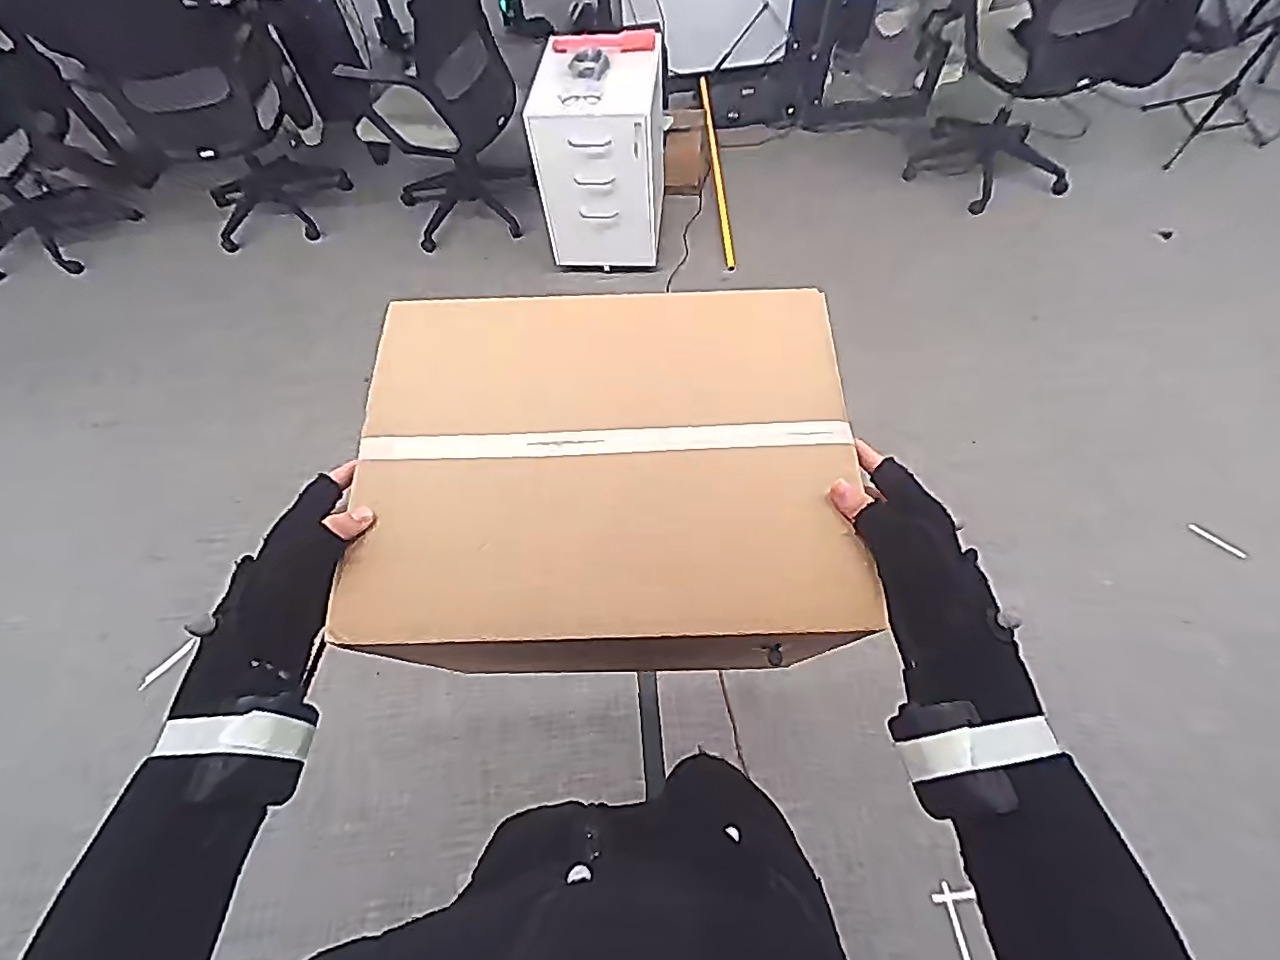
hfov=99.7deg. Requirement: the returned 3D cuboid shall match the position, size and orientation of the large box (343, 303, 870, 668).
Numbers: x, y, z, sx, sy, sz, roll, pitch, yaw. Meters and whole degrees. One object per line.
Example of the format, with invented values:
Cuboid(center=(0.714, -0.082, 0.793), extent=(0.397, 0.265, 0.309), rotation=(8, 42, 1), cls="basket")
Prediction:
Cuboid(center=(-0.026, 0.033, 0.596), extent=(0.408, 0.320, 0.320), rotation=(-1, 66, 0), cls="large box")
